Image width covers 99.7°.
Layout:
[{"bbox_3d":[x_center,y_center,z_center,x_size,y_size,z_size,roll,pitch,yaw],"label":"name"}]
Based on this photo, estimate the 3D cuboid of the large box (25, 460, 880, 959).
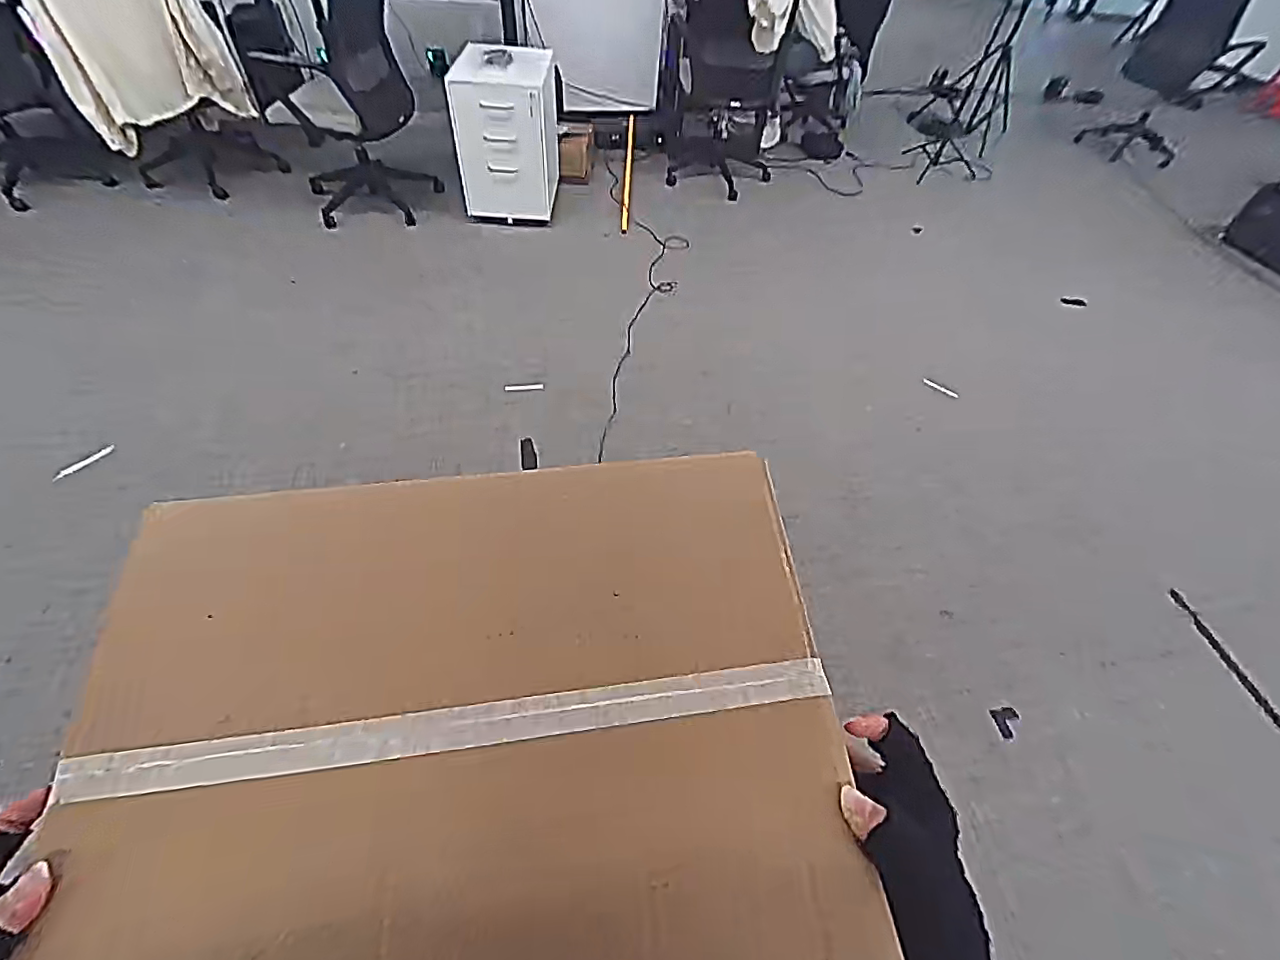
[{"bbox_3d":[-0.101,0.207,0.437,0.408,0.320,0.320,-5,61,-6],"label":"large box"}]
